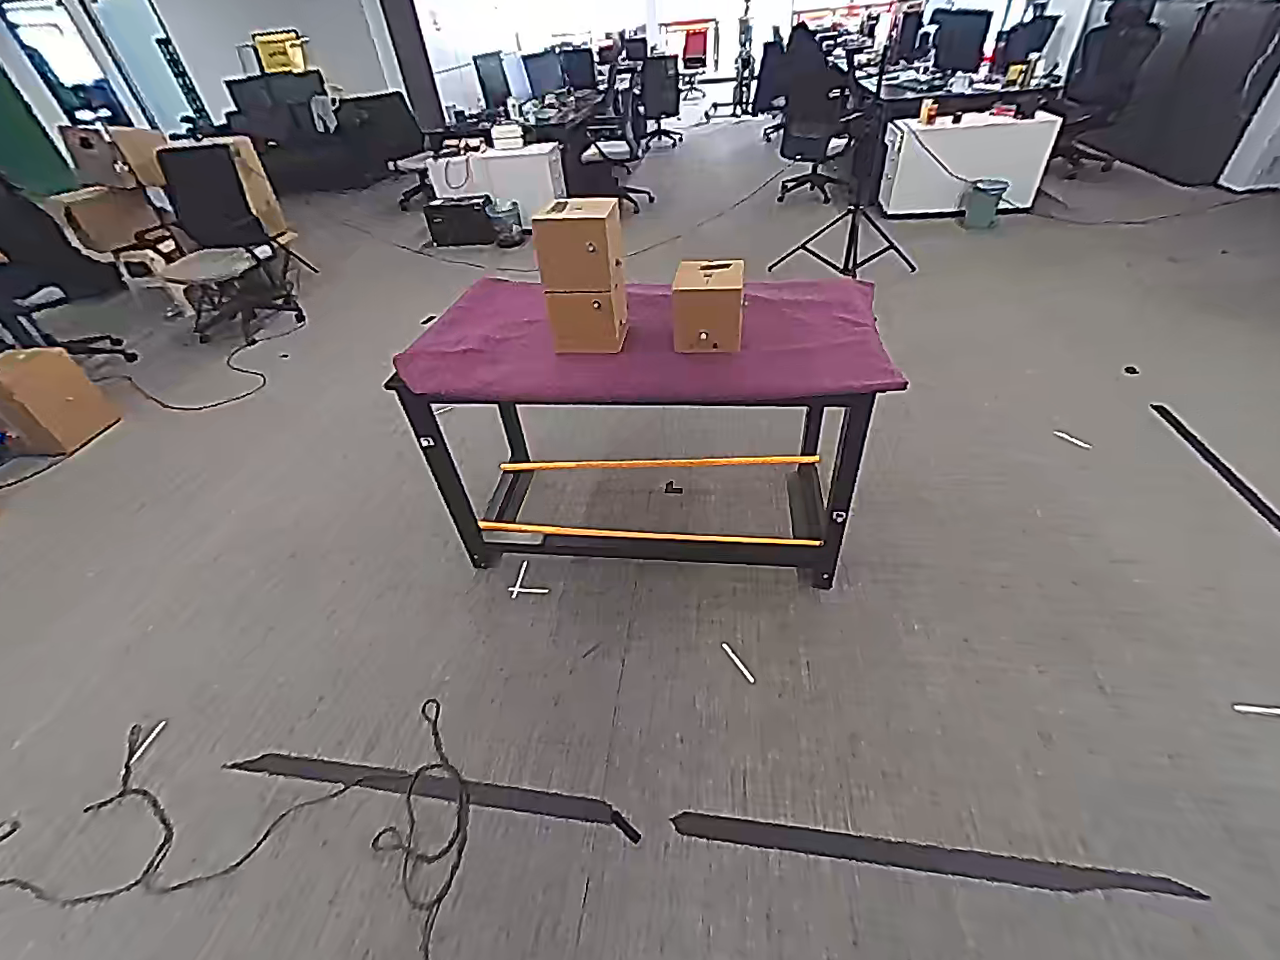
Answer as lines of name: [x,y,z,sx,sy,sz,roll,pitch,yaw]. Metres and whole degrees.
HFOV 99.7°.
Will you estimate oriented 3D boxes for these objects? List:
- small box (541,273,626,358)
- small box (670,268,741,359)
small box: [-0.141,-0.433,1.426,0.179,0.176,0.168,2,41,8]
small box: [0.169,-0.427,1.379,0.168,0.176,0.179,3,42,10]
